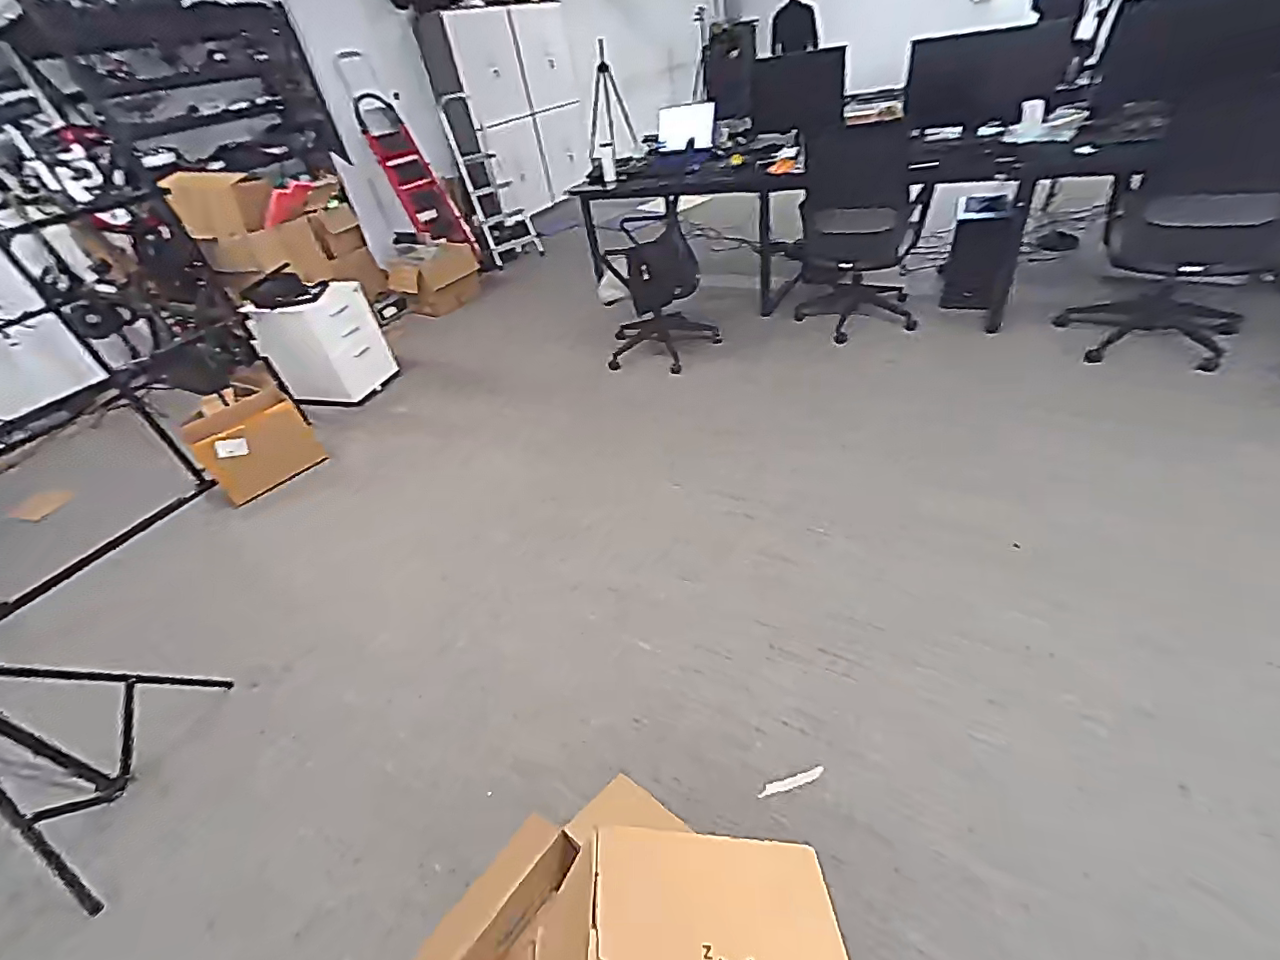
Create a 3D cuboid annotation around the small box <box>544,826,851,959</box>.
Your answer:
[{"bbox_3d":[0.034,0.370,0.364,0.179,0.176,0.168,14,30,-12],"label":"small box"}]
